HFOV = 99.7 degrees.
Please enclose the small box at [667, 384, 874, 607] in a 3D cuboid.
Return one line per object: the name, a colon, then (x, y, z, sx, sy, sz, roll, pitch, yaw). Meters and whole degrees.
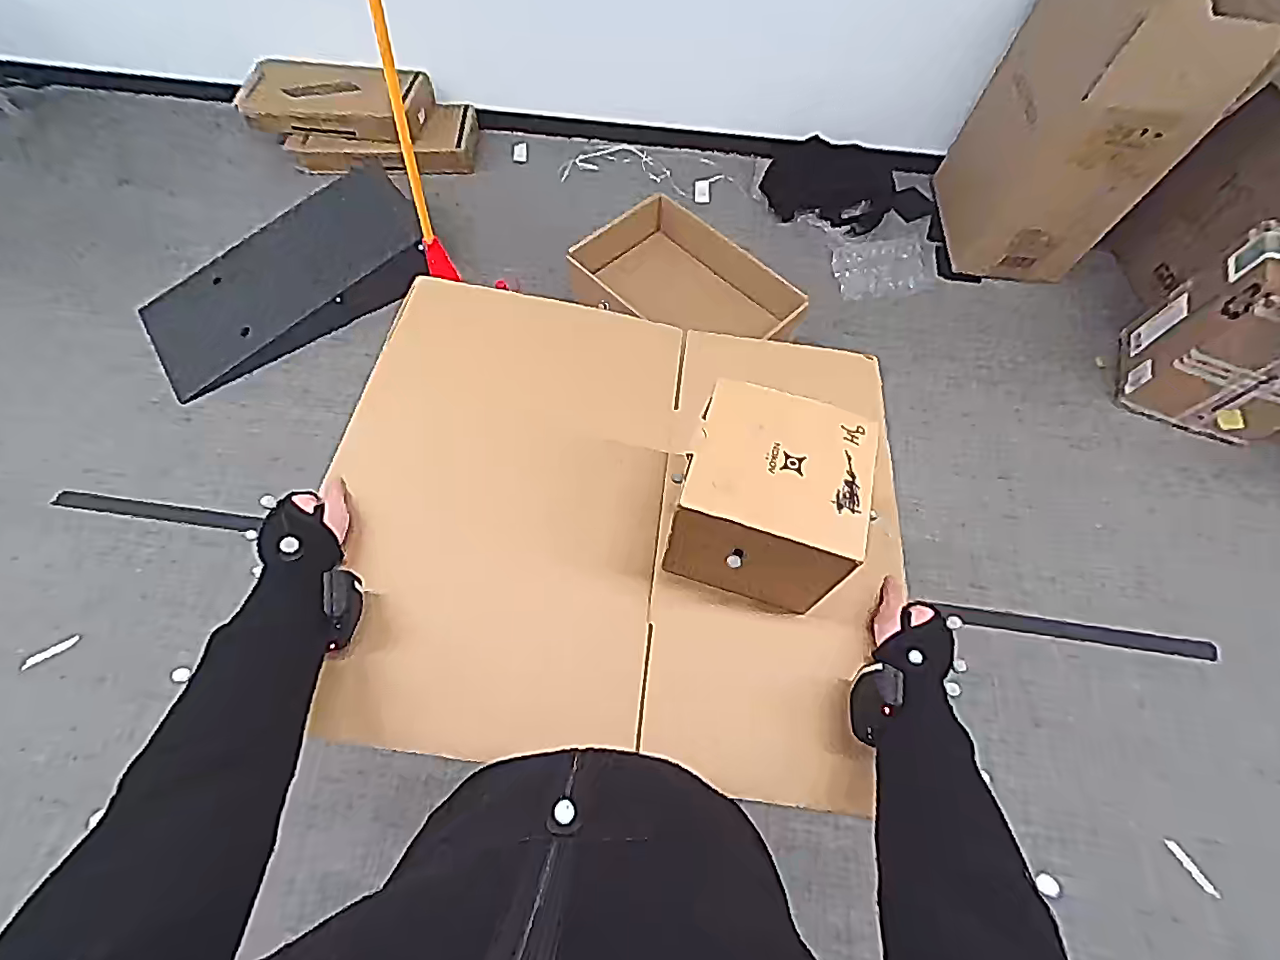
small box: (0.136, 0.025, 0.606, 0.179, 0.176, 0.168, 17, 61, 7)
